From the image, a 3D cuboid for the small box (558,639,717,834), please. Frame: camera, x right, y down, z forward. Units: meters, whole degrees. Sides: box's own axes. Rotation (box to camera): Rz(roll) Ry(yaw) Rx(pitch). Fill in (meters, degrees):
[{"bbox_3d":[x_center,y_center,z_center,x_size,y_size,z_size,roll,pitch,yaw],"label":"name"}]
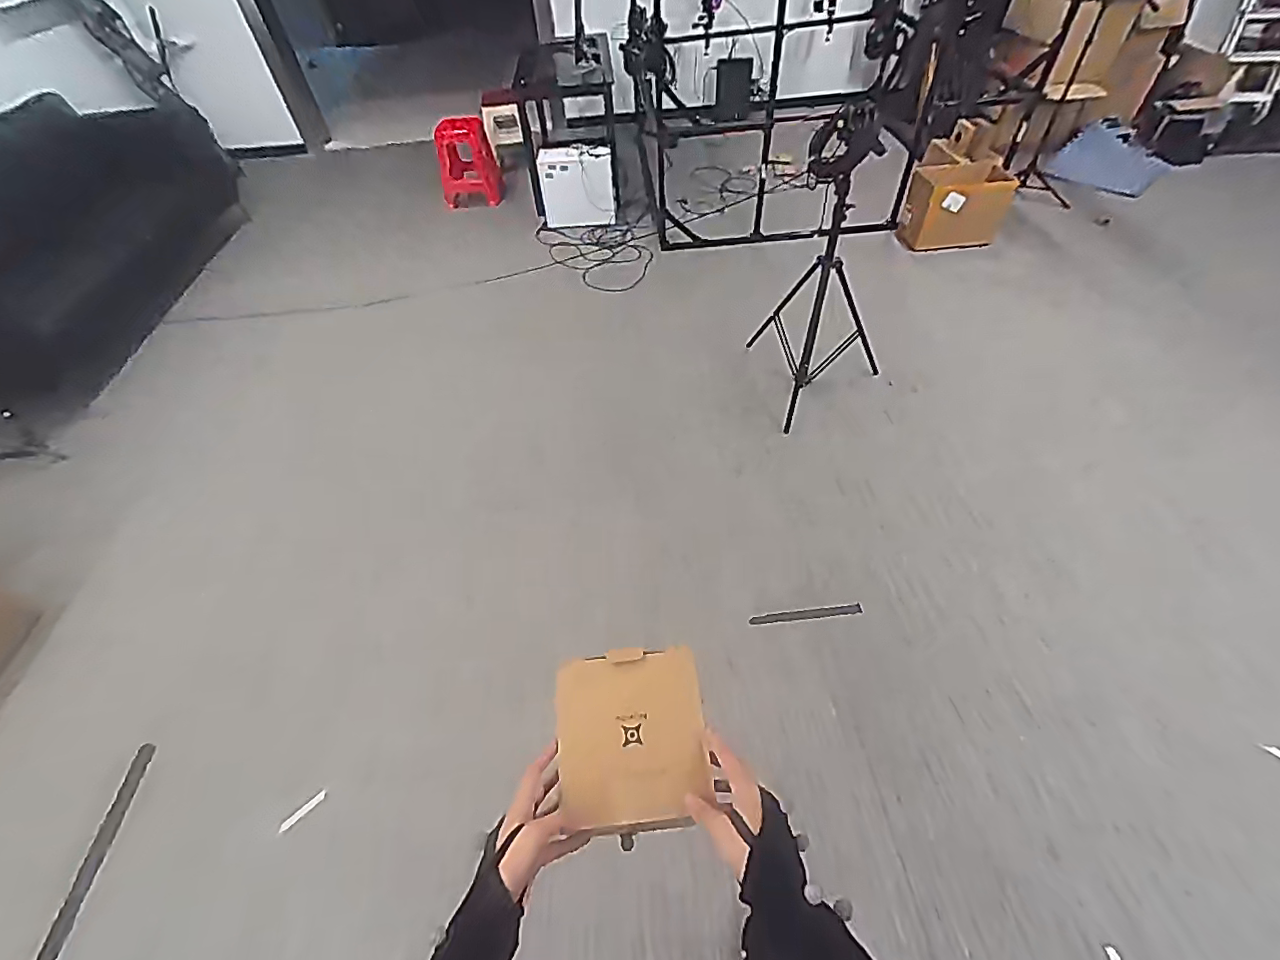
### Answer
[{"bbox_3d":[-0.009,0.315,0.661,0.168,0.176,0.179,-5,53,-3],"label":"small box"}]
